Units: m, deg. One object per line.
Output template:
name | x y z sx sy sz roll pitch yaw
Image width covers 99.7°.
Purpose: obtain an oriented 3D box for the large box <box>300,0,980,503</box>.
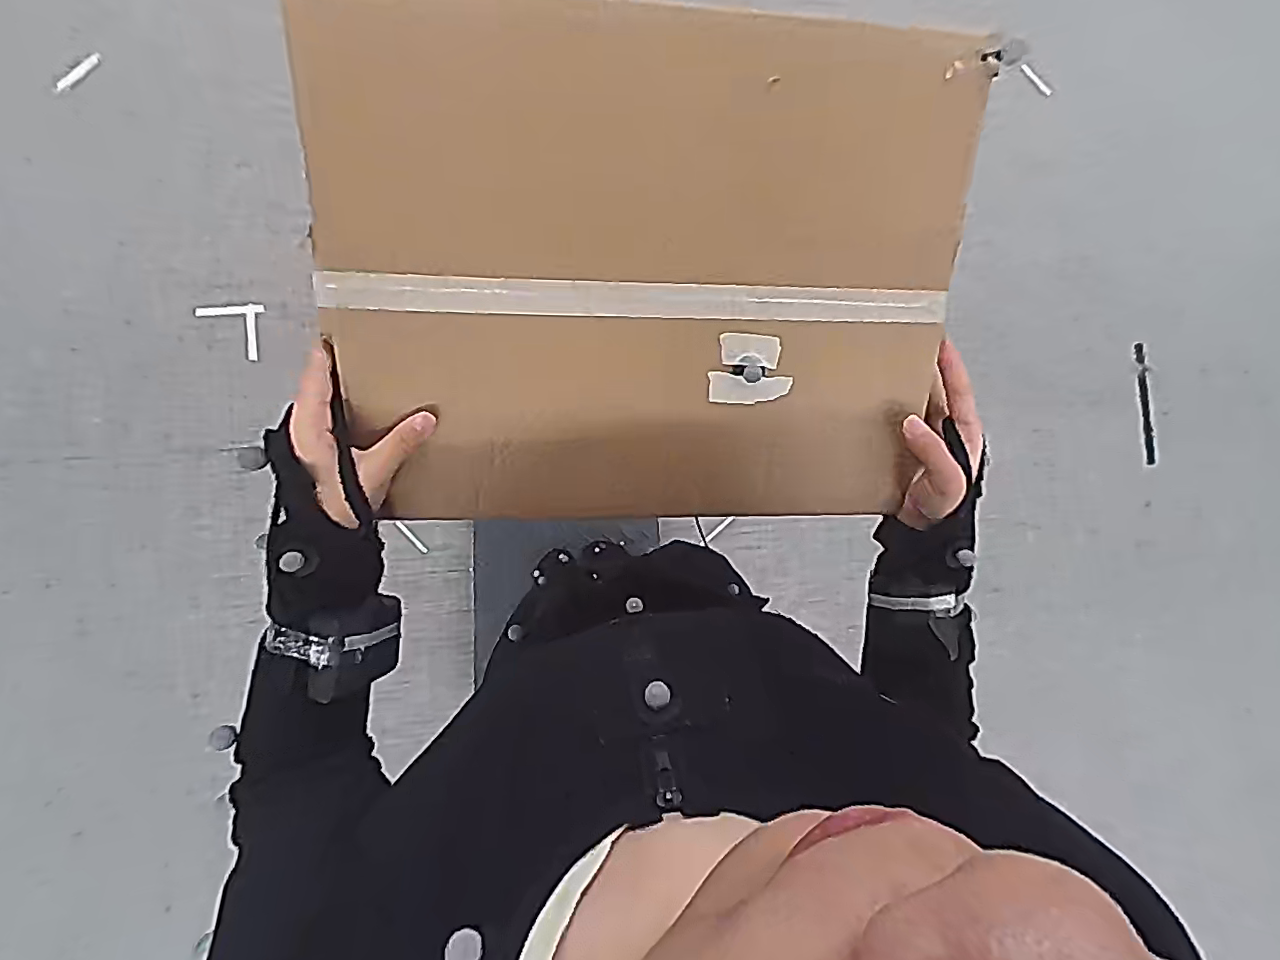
large box | -0.009 -0.180 0.497 0.408 0.320 0.320 0 111 -7
